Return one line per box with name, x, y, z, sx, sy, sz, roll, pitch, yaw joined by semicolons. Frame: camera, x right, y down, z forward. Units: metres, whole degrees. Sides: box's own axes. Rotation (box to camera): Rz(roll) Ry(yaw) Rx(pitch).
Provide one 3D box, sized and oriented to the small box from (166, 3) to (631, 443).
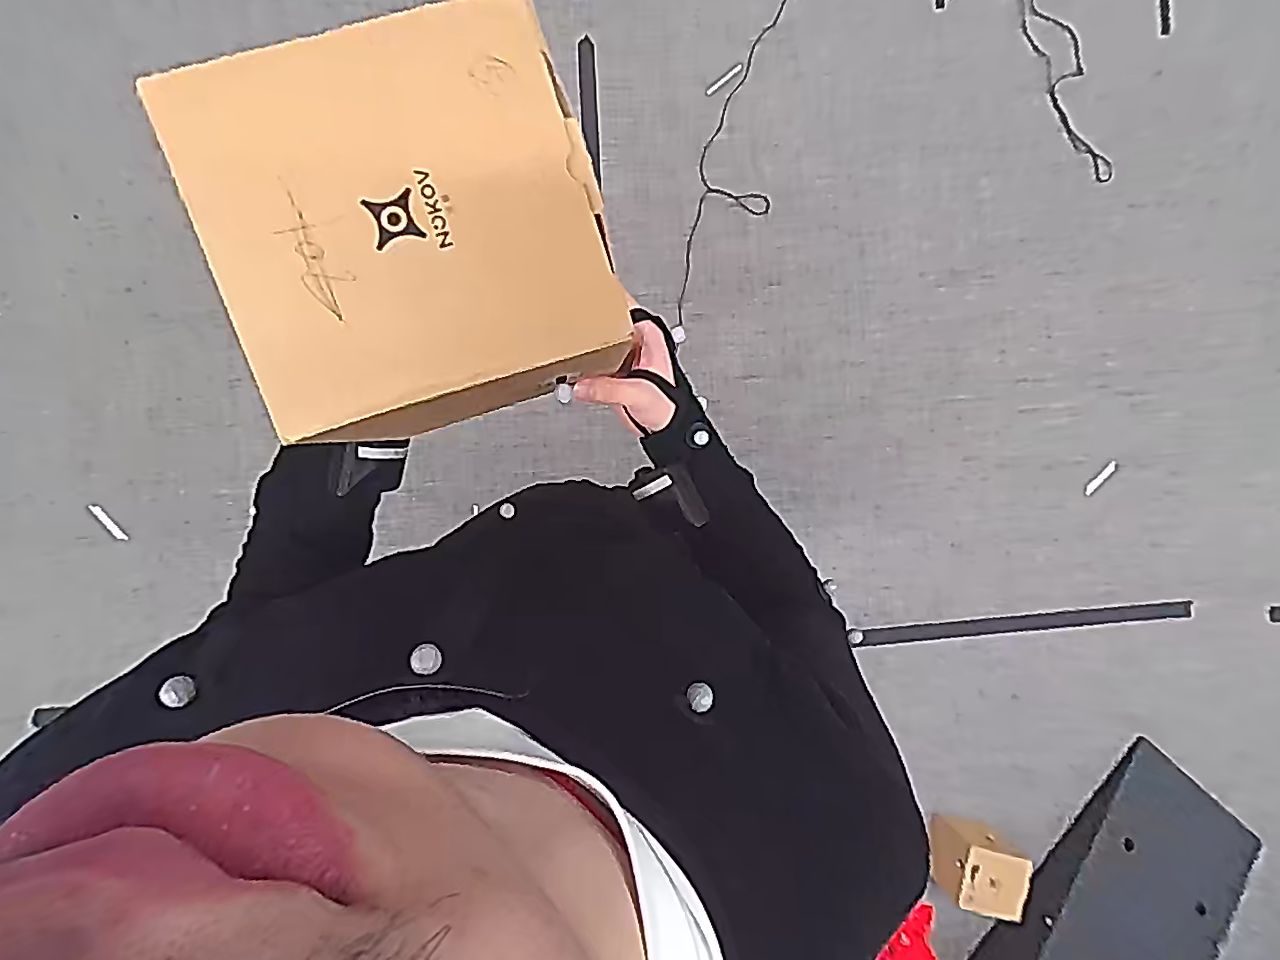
small box;-0.117;-0.129;0.338;0.179;0.176;0.168;-19;96;-3
